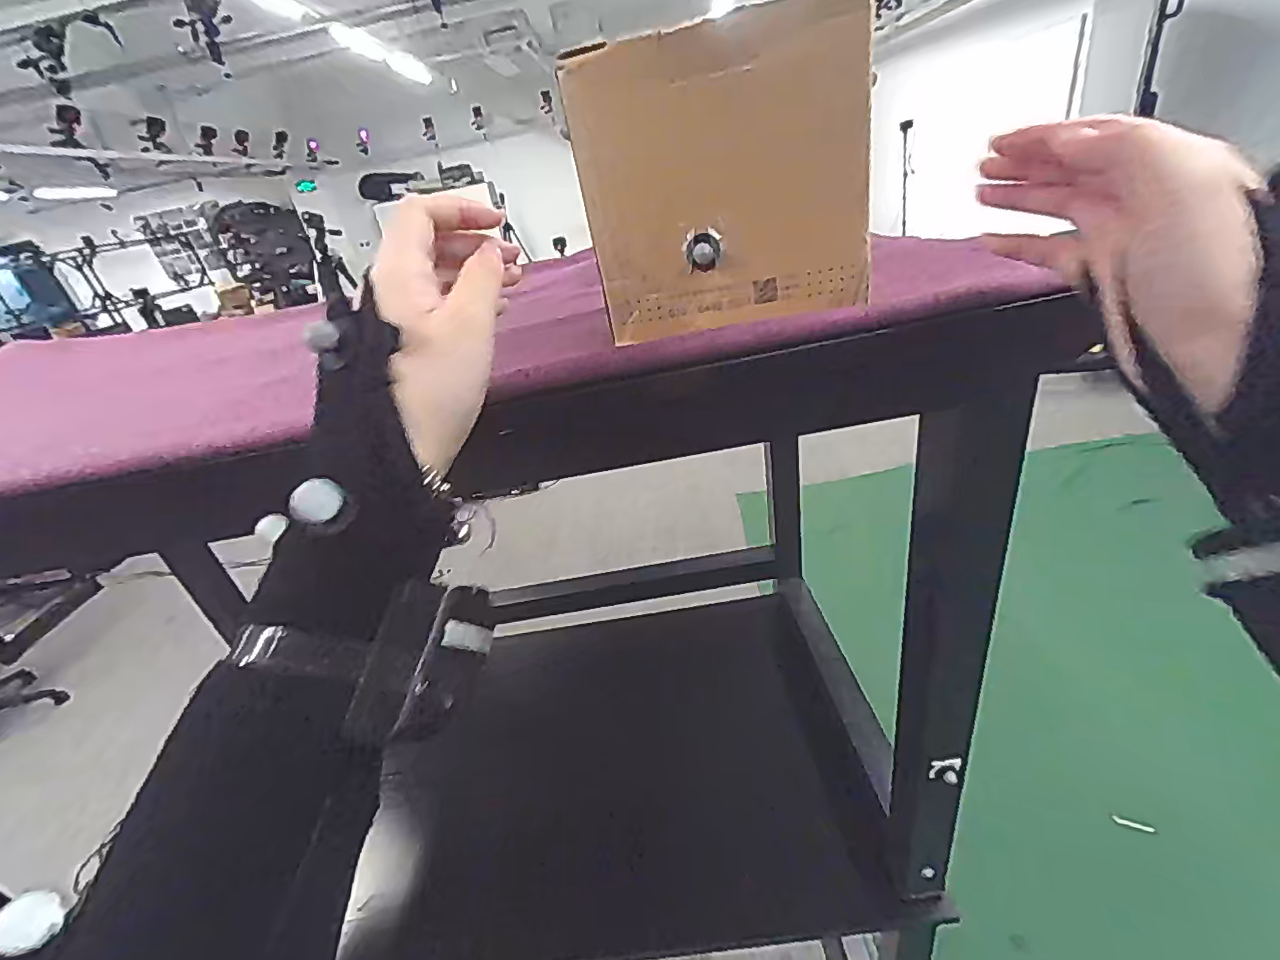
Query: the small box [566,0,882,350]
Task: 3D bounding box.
[{"bbox_3d":[0.063,-0.204,0.386,0.168,0.176,0.179,-5,31,12],"label":"small box"}]
